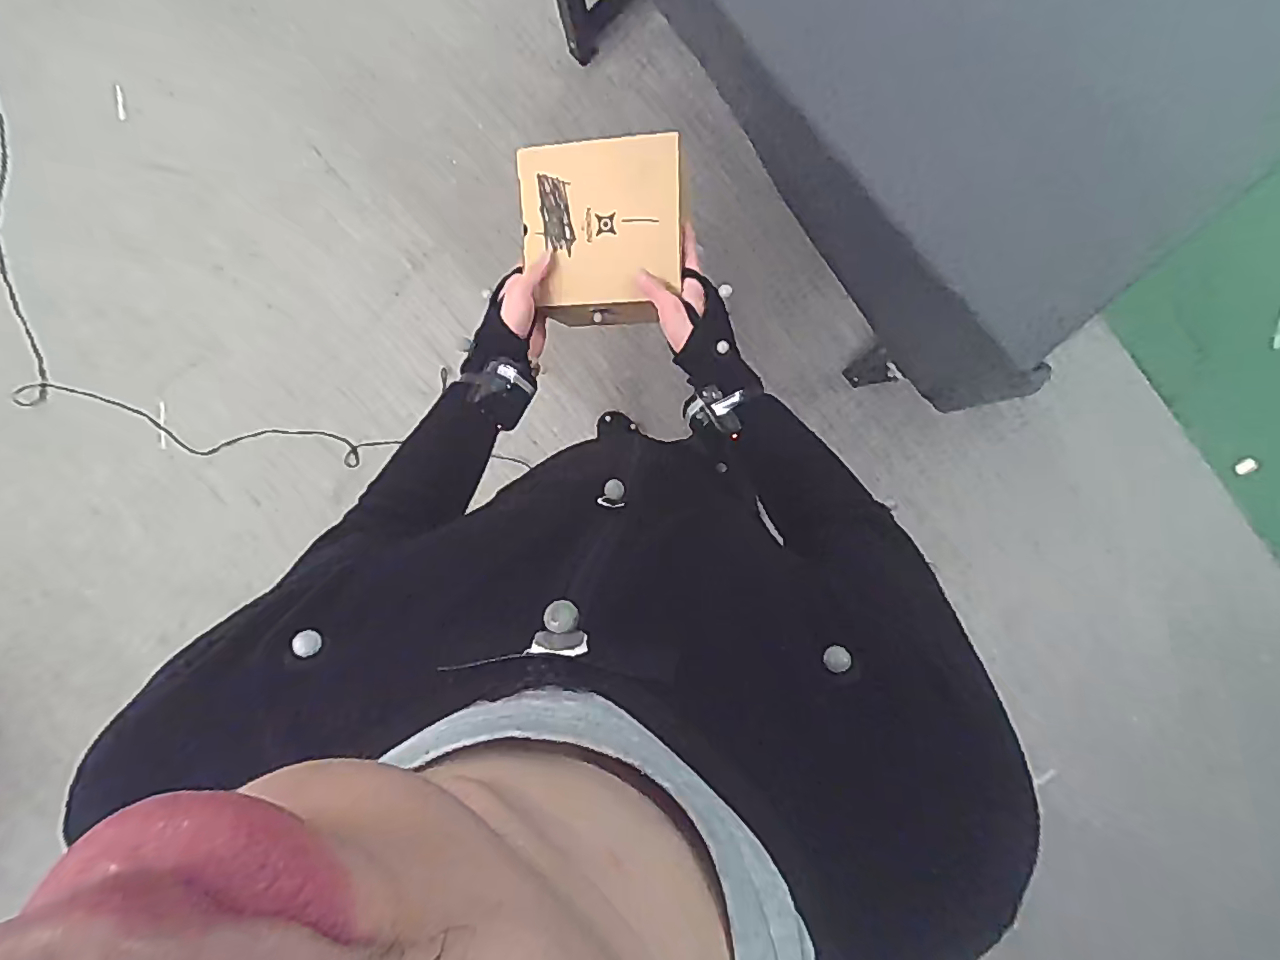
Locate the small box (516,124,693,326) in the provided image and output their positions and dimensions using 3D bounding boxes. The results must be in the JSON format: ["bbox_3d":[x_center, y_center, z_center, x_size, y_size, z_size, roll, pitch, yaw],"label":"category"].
[{"bbox_3d":[-0.029,-0.277,0.628,0.179,0.176,0.168,-2,98,7],"label":"small box"}]
